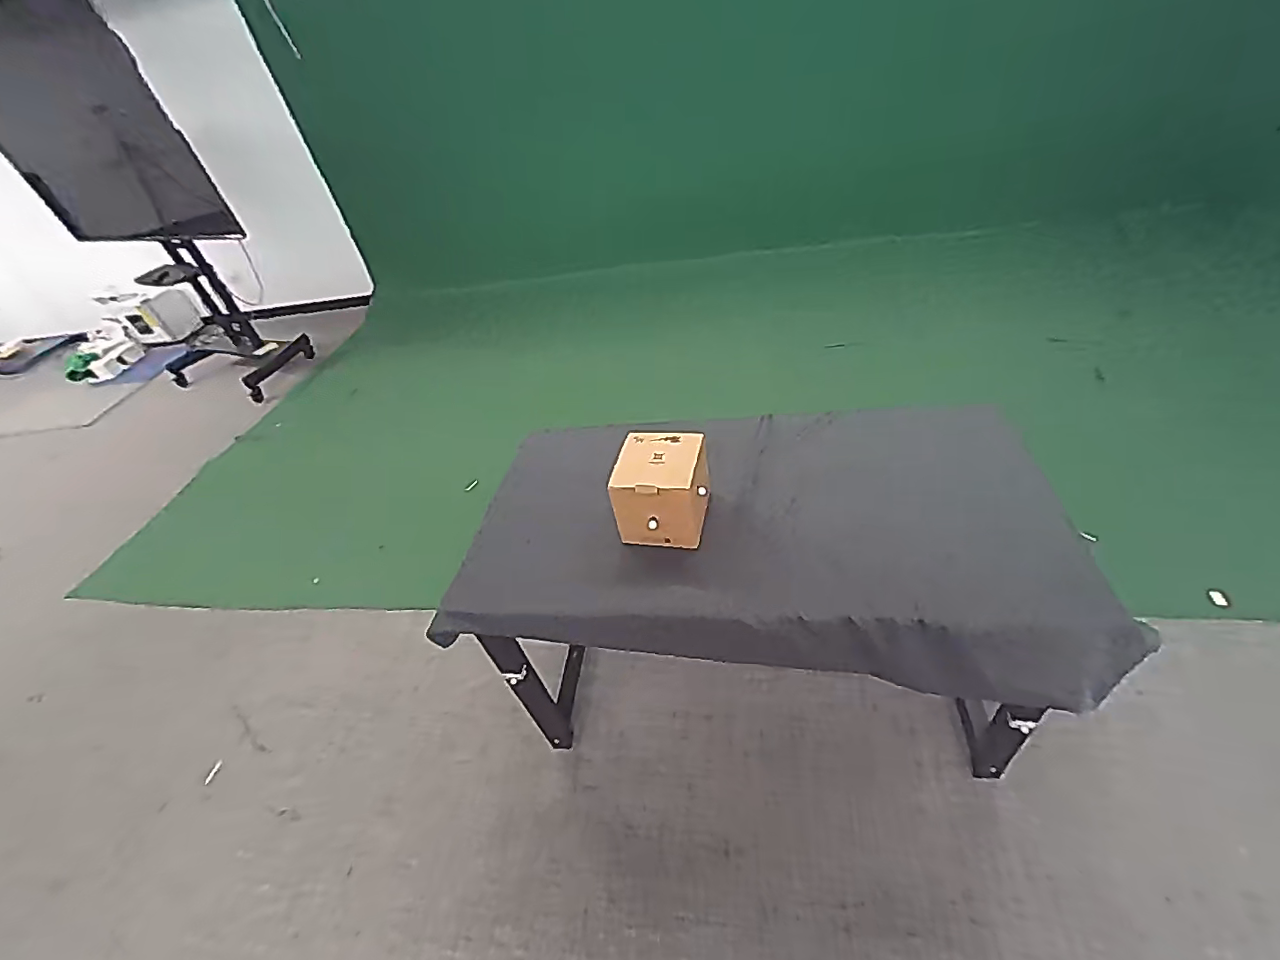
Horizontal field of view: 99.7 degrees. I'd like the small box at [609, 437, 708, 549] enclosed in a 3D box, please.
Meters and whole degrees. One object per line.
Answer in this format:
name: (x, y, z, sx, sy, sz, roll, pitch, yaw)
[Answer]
small box: (0.049, 0.031, 1.142, 0.168, 0.176, 0.179, -1, 42, 15)
